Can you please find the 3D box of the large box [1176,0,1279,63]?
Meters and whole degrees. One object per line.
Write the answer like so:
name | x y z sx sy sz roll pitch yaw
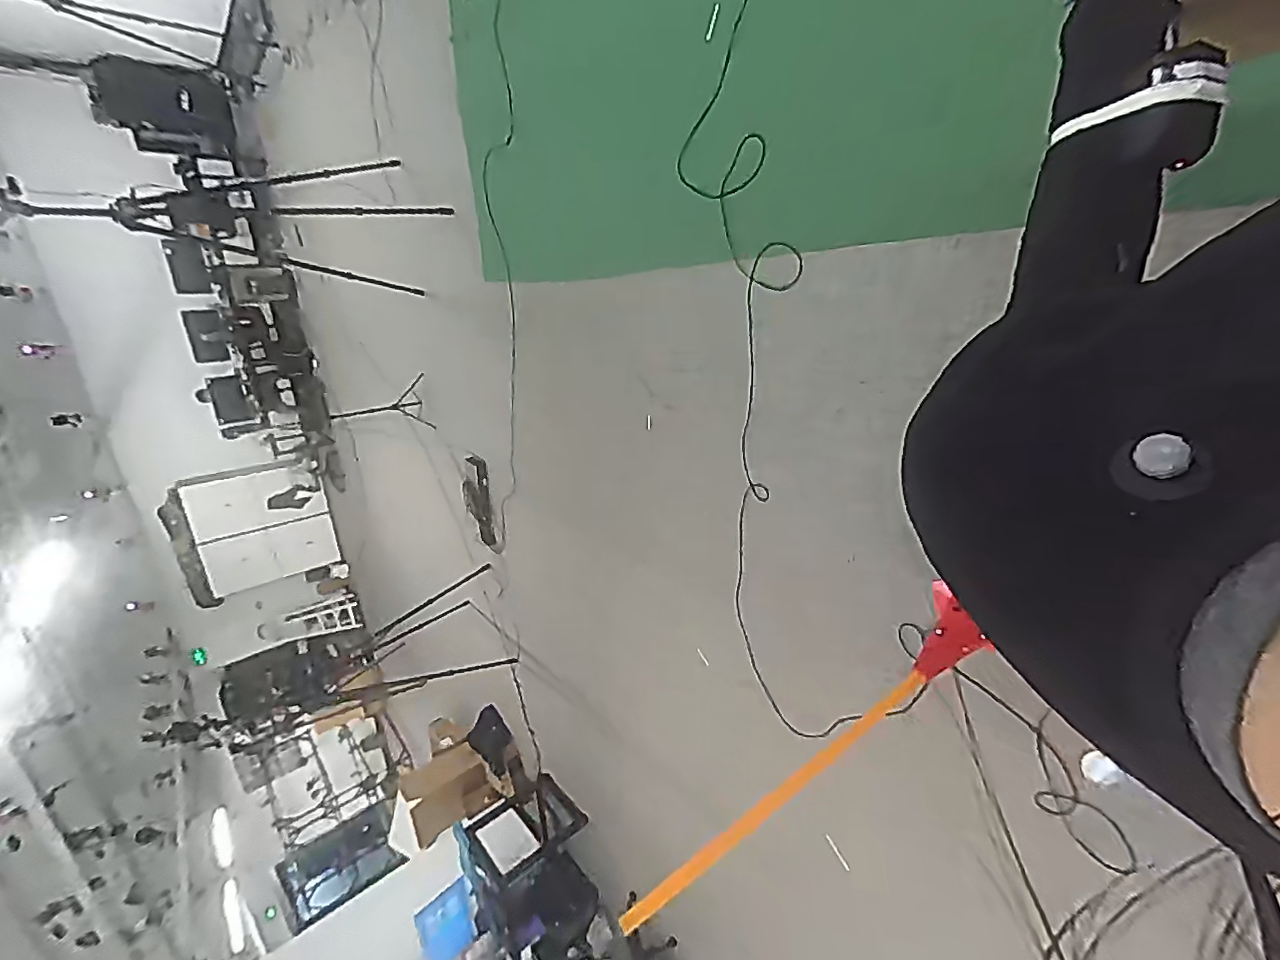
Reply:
large box | 0.553 -0.477 0.252 0.408 0.320 0.320 8 115 43
